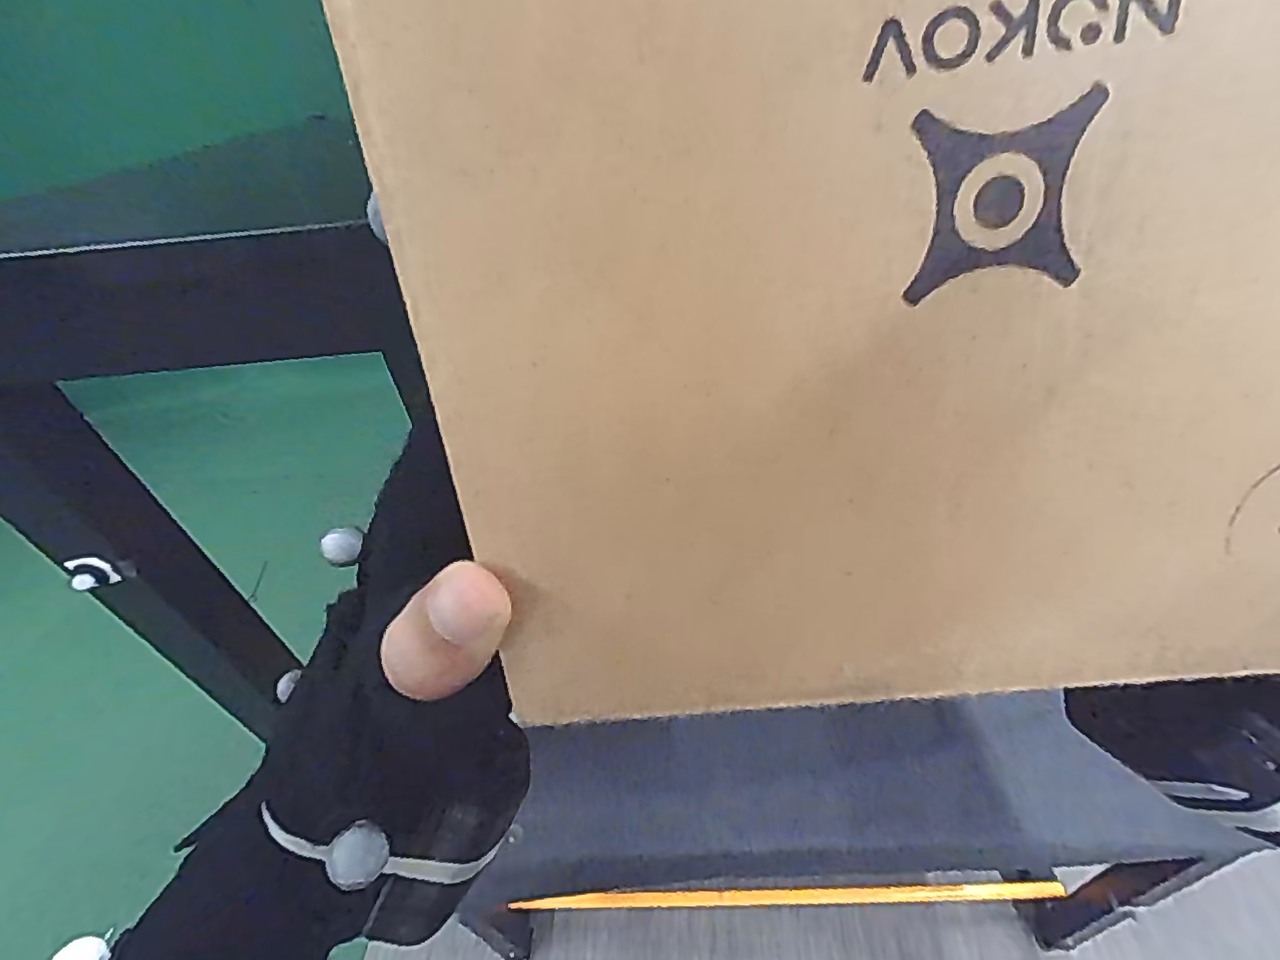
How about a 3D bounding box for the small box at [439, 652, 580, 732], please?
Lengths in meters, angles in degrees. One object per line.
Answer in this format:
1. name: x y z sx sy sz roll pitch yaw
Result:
1. small box: -0.181 0.255 0.824 0.168 0.176 0.179 -6 39 2
